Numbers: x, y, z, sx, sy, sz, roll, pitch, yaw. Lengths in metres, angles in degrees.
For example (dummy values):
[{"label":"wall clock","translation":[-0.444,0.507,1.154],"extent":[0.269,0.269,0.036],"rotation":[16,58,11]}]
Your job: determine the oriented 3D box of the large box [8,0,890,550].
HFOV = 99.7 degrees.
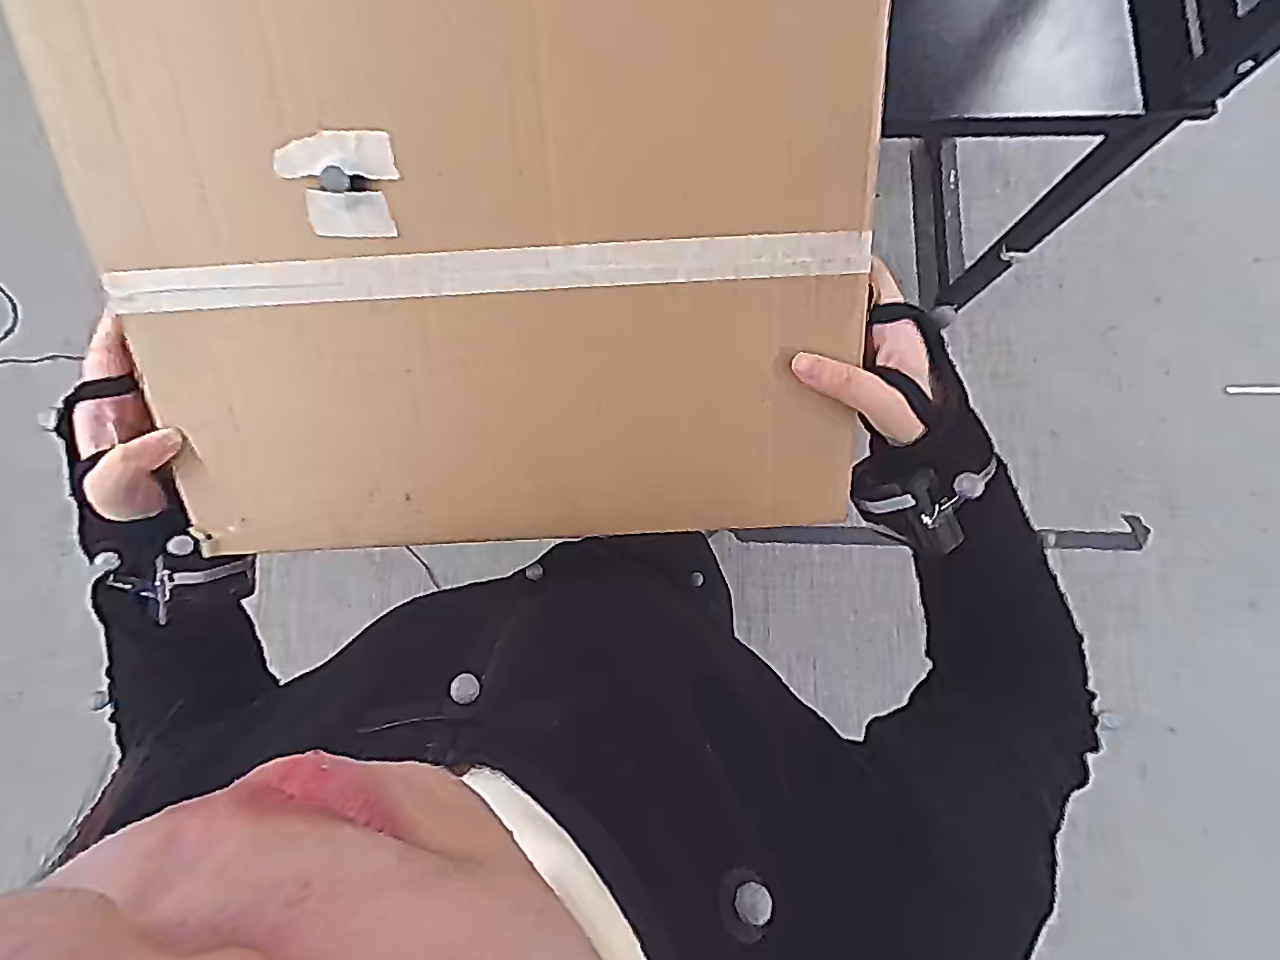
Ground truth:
[{"label":"large box","translation":[-0.077,-0.165,0.422],"extent":[0.408,0.320,0.320],"rotation":[-3,109,0]}]
